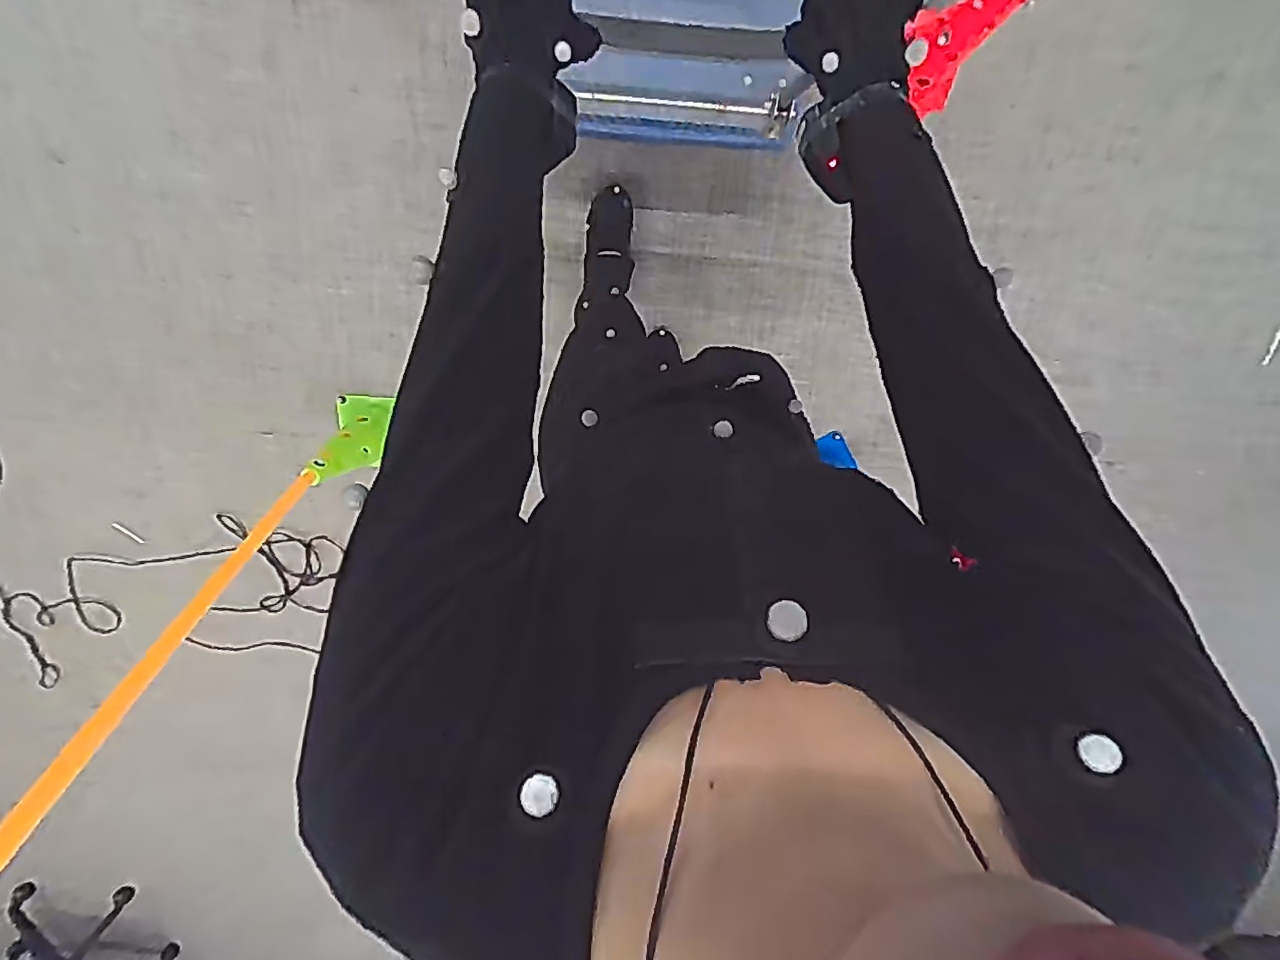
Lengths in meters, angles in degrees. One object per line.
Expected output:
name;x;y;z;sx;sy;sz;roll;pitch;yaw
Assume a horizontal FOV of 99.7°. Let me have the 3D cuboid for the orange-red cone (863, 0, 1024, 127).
orange-red cone;0.621;-0.863;1.047;0.198;0.360;0.199;15;110;-6
